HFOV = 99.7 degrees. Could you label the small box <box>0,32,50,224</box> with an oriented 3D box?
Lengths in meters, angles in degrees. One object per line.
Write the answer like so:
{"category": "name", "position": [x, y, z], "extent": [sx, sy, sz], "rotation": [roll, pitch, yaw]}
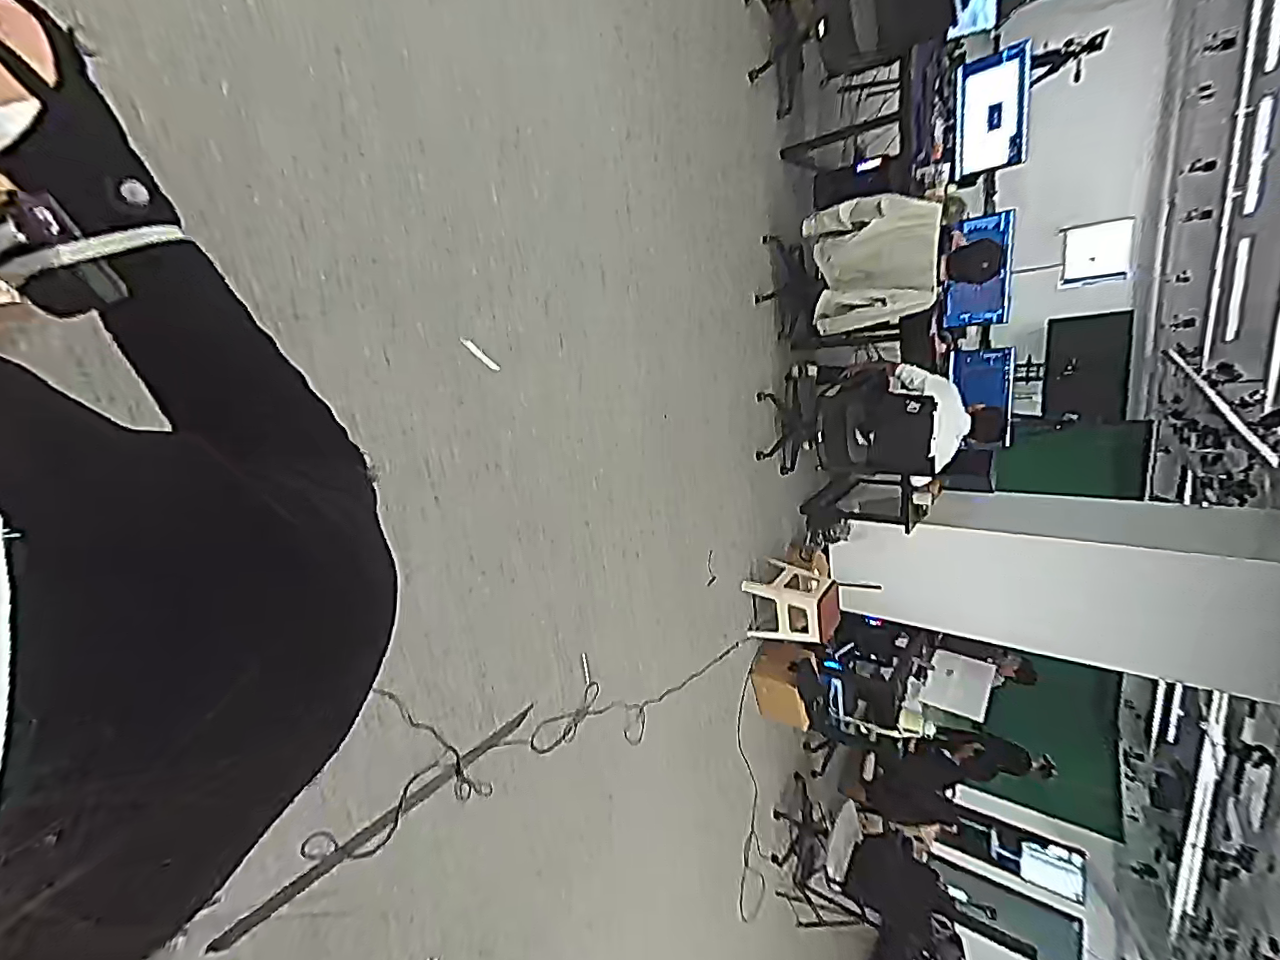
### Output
{"category": "small box", "position": [-0.772, -0.384, 0.562], "extent": [0.168, 0.176, 0.179], "rotation": [-23, 113, -50]}
